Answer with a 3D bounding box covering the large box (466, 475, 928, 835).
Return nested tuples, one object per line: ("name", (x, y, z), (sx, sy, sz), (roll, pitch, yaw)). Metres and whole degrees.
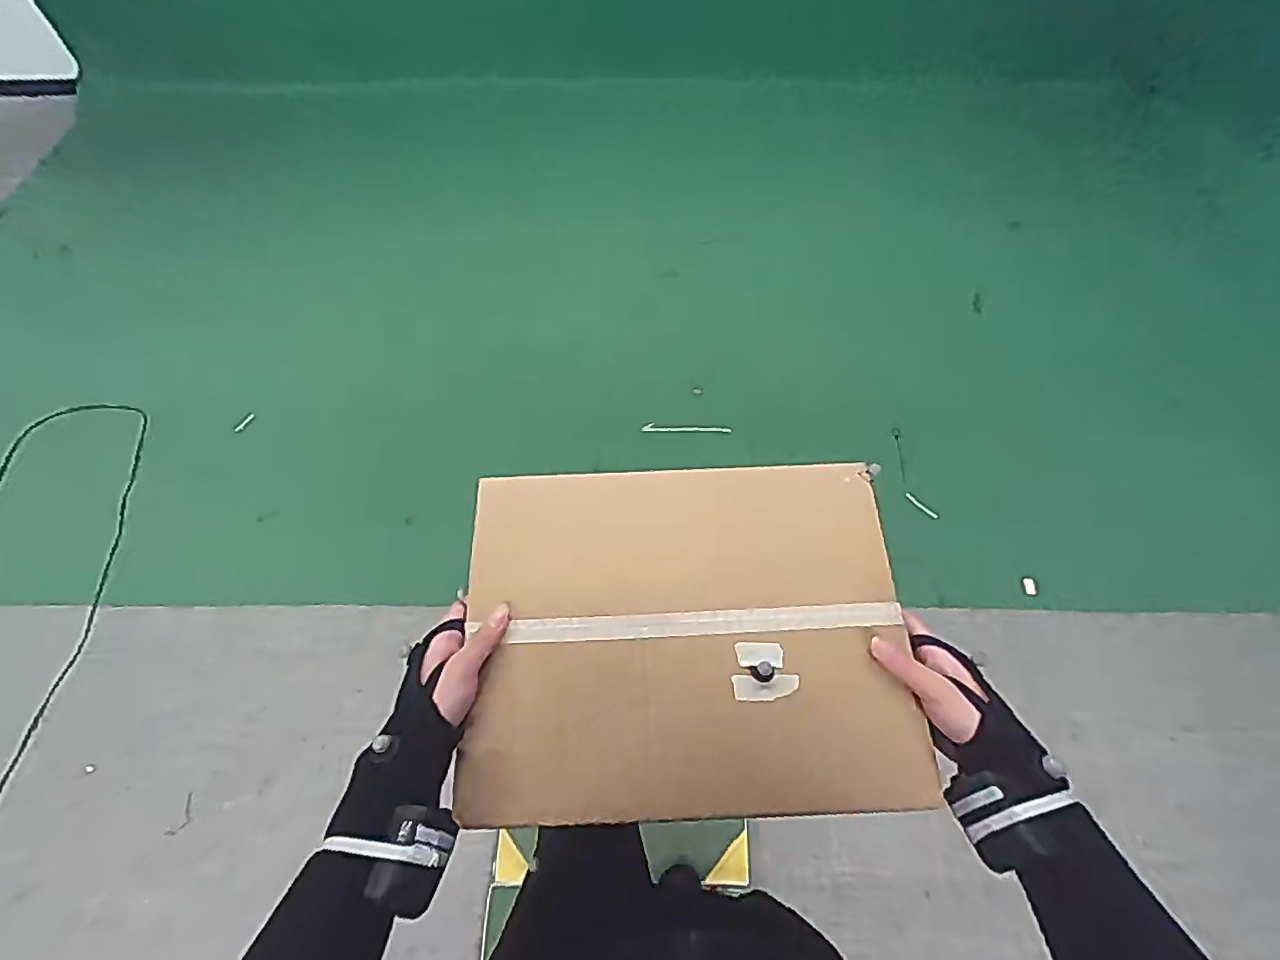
("large box", (0.040, 0.207, 0.651), (0.408, 0.320, 0.320), (-3, 67, -1))
